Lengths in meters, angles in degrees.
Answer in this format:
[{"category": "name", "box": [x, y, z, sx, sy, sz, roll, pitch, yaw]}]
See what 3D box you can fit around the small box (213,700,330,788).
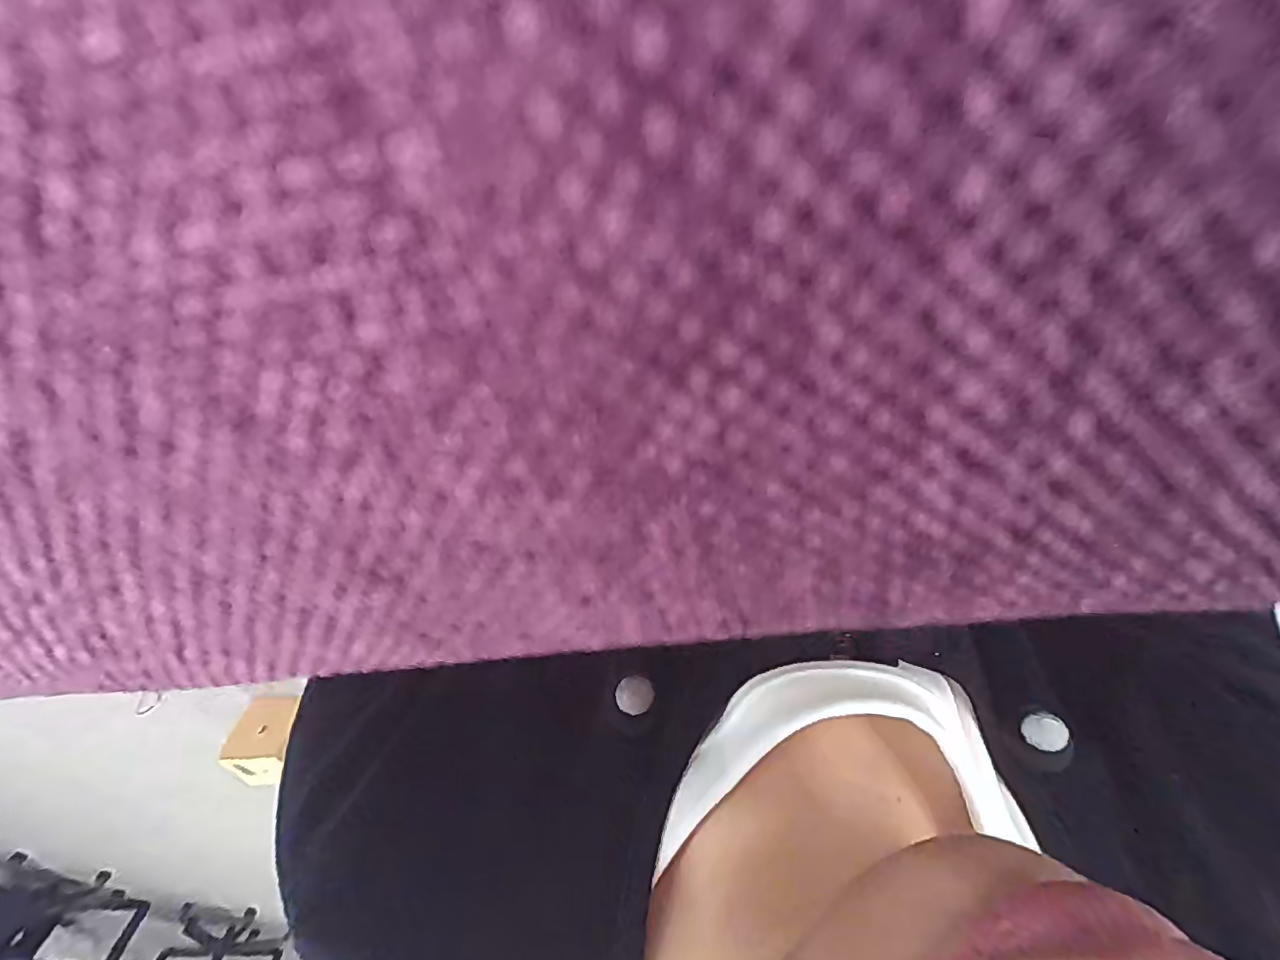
[{"category": "small box", "box": [-1.016, 0.733, 1.507, 0.179, 0.176, 0.168, -6, 129, 7]}]
